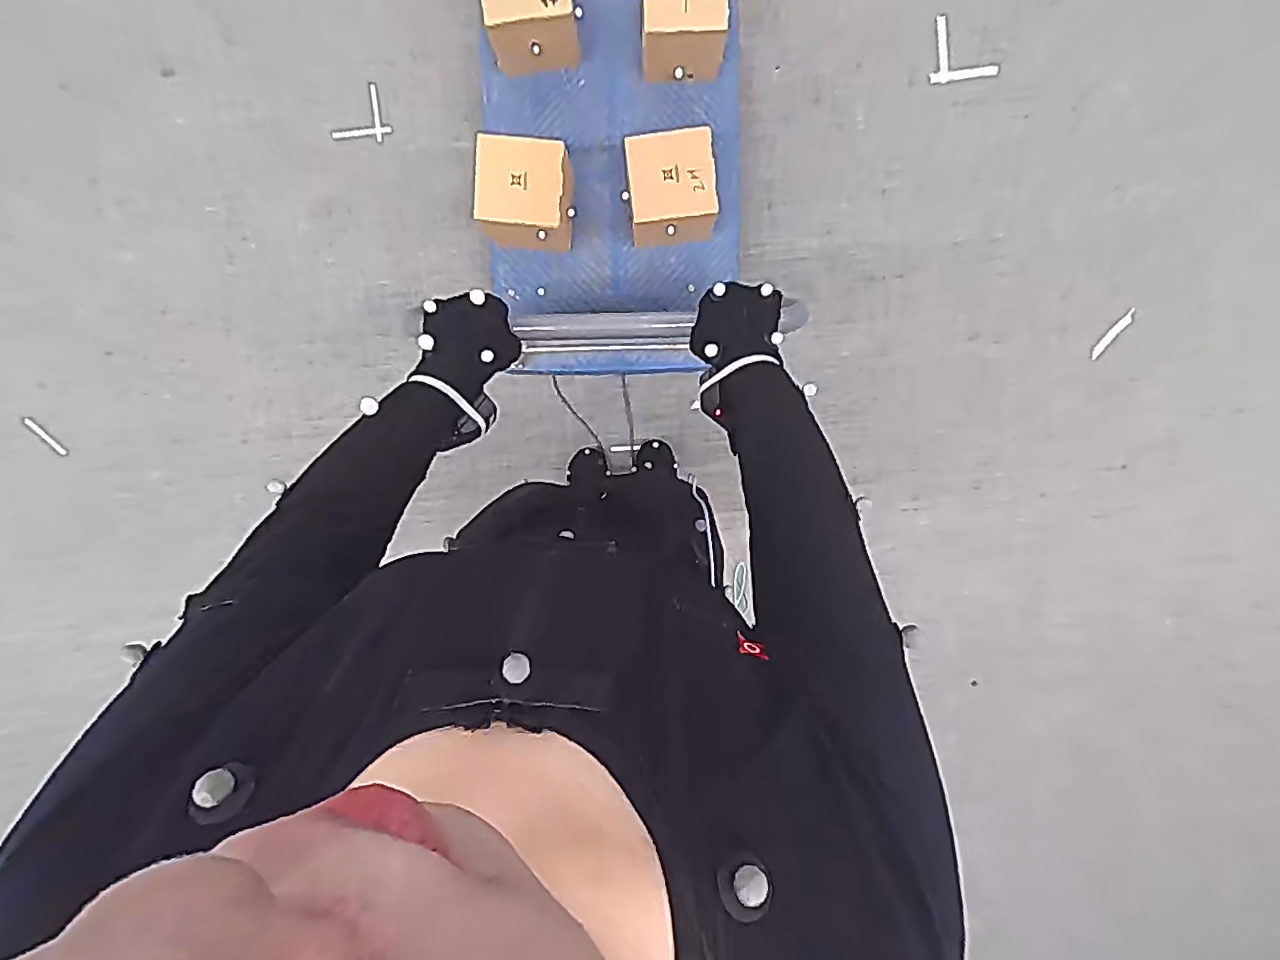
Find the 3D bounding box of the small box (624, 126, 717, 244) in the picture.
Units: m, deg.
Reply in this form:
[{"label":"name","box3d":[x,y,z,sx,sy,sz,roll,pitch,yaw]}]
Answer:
[{"label":"small box","box3d":[0.064,-0.624,1.165,0.179,0.176,0.168,-7,97,1]}]

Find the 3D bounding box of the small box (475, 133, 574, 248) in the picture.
[{"label":"small box","box3d":[-0.243,-0.614,1.167,0.179,0.176,0.168,4,96,-2]}]

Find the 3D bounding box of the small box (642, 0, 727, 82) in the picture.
[{"label":"small box","box3d":[0.087,-0.973,1.124,0.168,0.176,0.179,-1,98,0]}]
